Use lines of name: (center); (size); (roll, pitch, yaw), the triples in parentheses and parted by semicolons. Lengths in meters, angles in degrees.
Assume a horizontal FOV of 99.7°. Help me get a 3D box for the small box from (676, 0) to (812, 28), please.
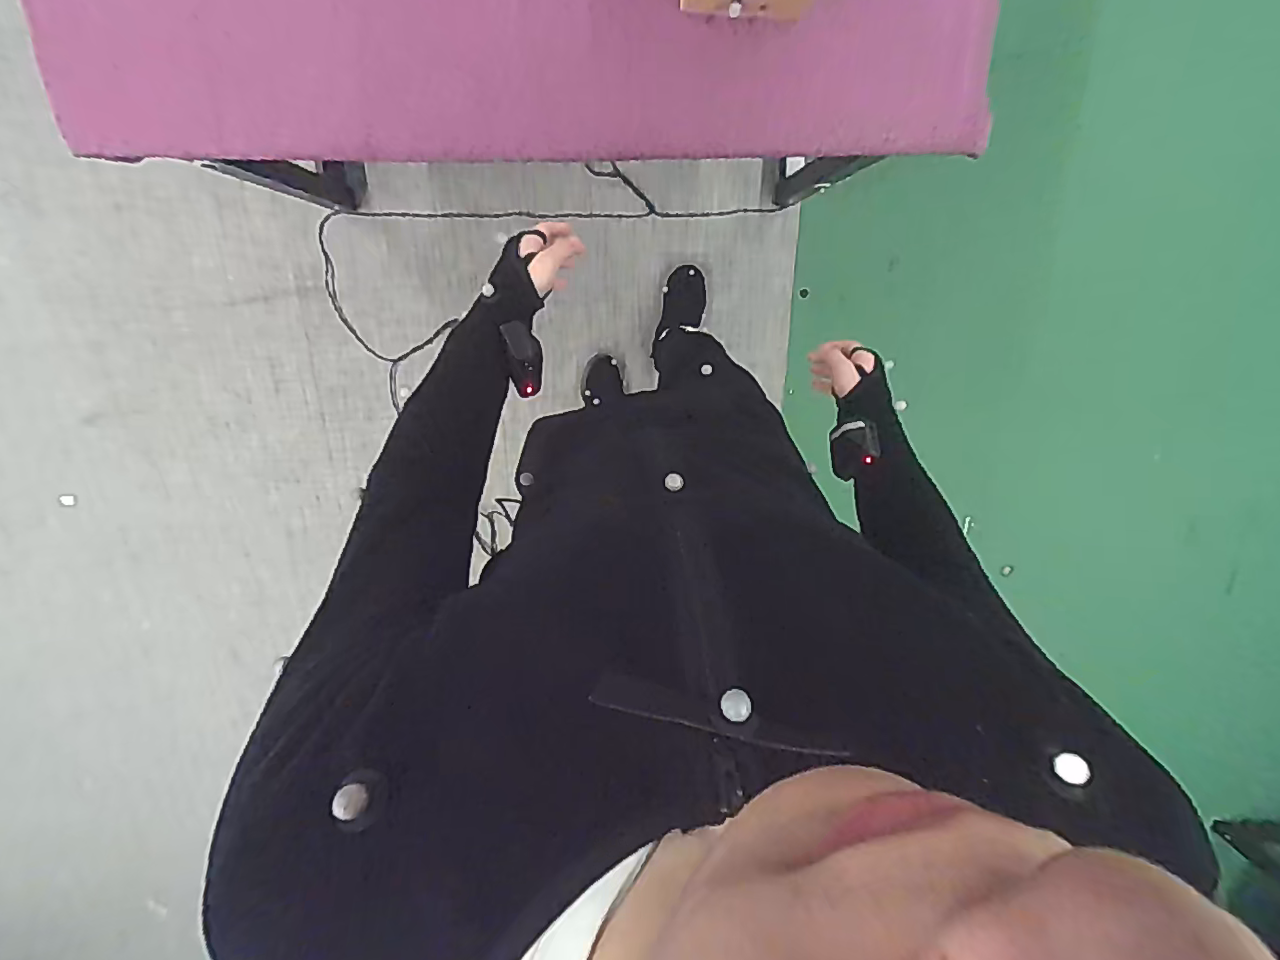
small box: (0.130, -0.650, 0.597); (0.168, 0.176, 0.179); (0, 107, -2)
